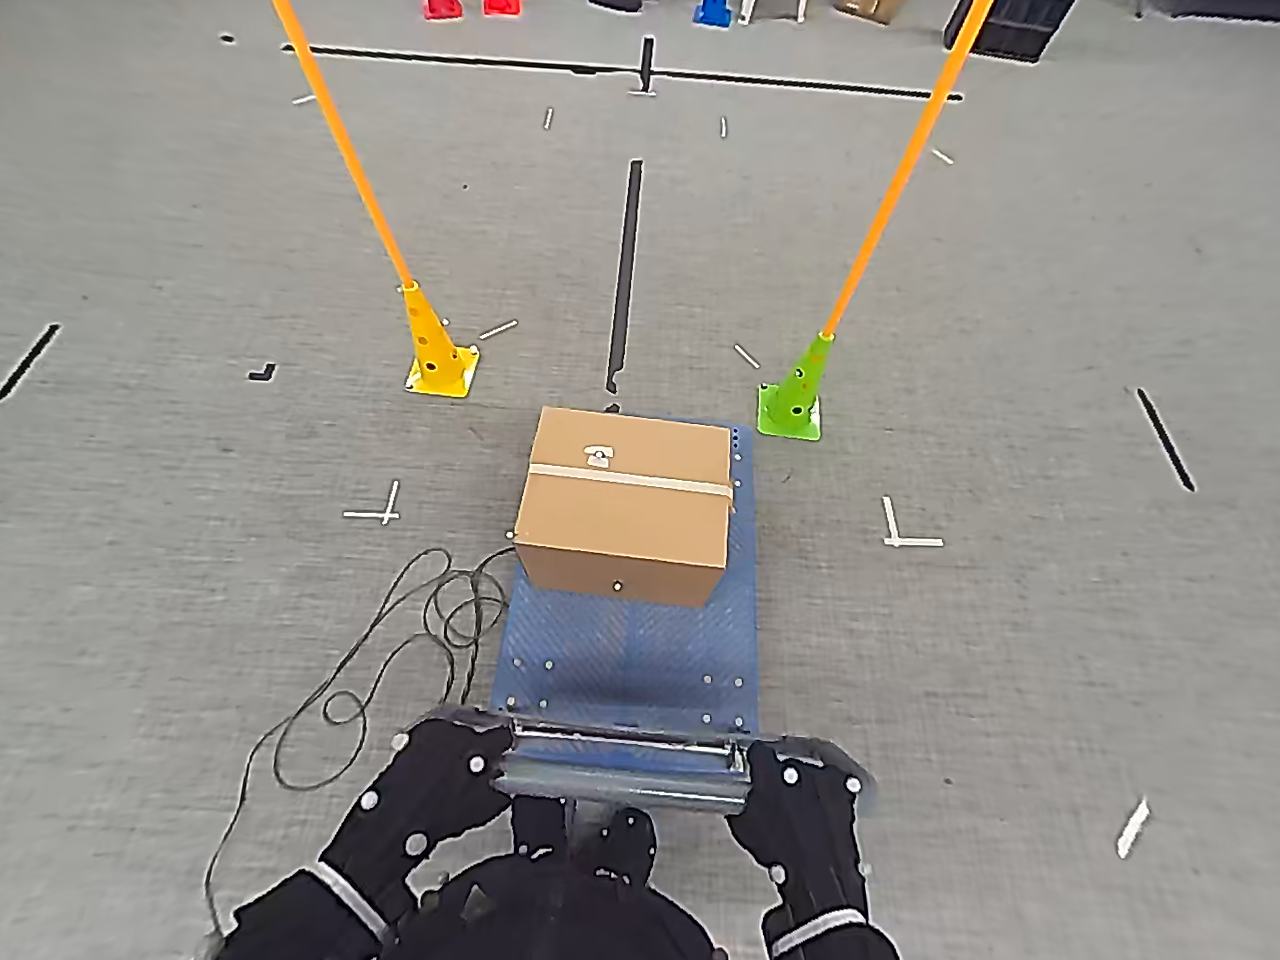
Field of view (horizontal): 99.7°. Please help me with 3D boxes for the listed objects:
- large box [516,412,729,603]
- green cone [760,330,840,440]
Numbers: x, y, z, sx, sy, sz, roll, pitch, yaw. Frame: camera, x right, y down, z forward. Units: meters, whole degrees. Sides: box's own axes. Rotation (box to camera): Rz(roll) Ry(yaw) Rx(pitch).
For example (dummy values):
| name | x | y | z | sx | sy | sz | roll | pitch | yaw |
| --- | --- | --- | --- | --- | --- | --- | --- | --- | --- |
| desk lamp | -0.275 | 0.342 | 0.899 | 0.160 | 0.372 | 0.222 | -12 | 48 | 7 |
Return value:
| name | x | y | z | sx | sy | sz | roll | pitch | yaw |
| --- | --- | --- | --- | --- | --- | --- | --- | --- | --- |
| large box | -0.026 | 0.076 | 1.217 | 0.408 | 0.320 | 0.320 | 7 | 62 | 1 |
| green cone | 0.502 | -0.305 | 1.610 | 0.202 | 0.368 | 0.200 | 8 | 62 | 0 |
